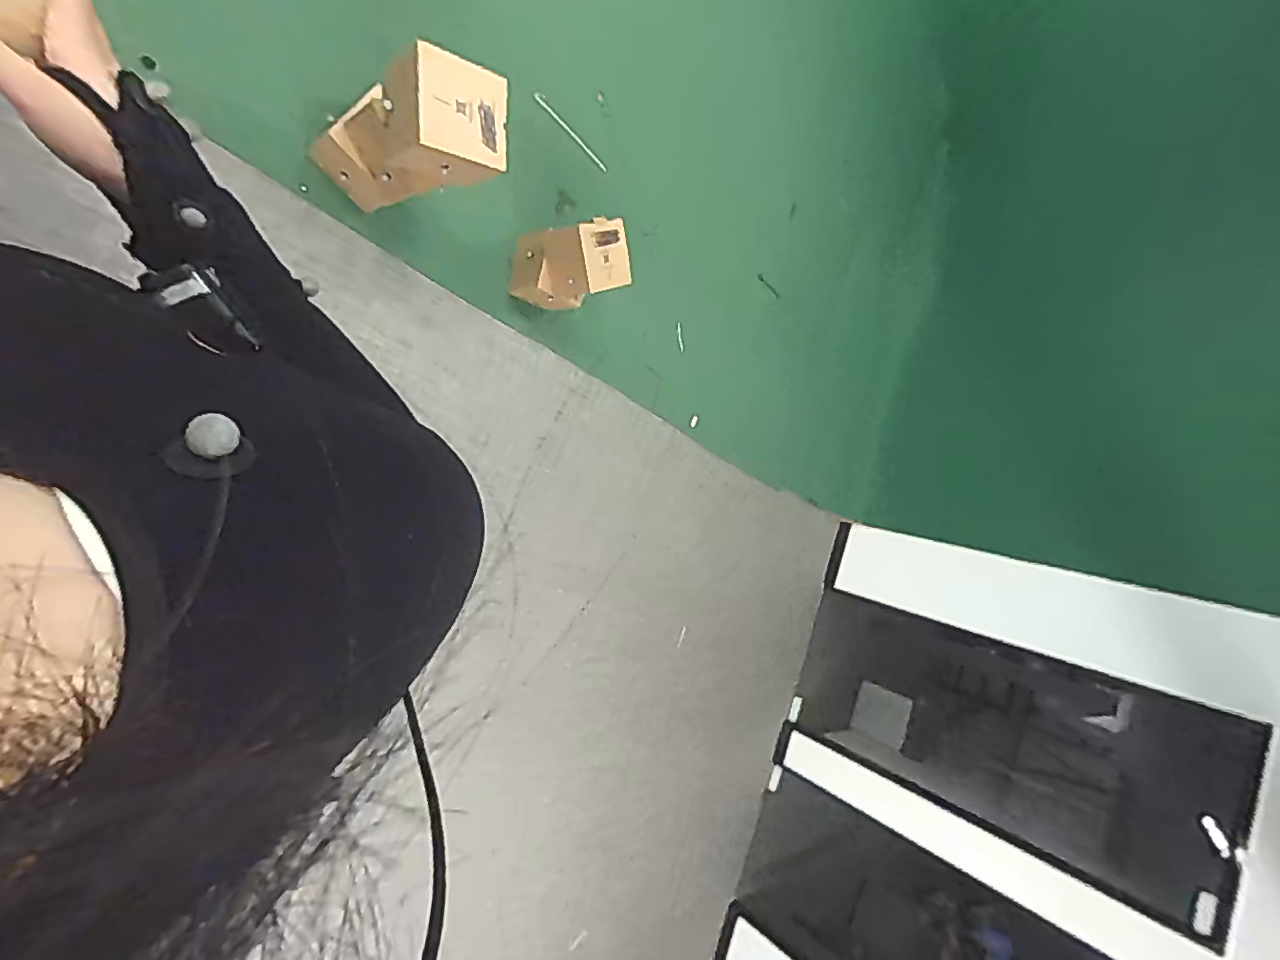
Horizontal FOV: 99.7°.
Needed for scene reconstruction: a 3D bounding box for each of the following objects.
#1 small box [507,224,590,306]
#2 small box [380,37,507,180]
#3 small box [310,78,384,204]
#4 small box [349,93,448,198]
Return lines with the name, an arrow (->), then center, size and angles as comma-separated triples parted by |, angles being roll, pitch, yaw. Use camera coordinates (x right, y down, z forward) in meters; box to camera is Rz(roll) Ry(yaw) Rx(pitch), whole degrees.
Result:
small box -> -0.281, -0.644, 1.639 | 0.168, 0.176, 0.179 | 11, 91, -48
small box -> -0.378, -0.697, 1.041 | 0.179, 0.176, 0.168 | -9, 108, -44
small box -> -0.623, -0.768, 1.245 | 0.168, 0.176, 0.179 | 47, 66, -43
small box -> -0.490, -0.724, 1.158 | 0.179, 0.176, 0.168 | -43, 130, -31
